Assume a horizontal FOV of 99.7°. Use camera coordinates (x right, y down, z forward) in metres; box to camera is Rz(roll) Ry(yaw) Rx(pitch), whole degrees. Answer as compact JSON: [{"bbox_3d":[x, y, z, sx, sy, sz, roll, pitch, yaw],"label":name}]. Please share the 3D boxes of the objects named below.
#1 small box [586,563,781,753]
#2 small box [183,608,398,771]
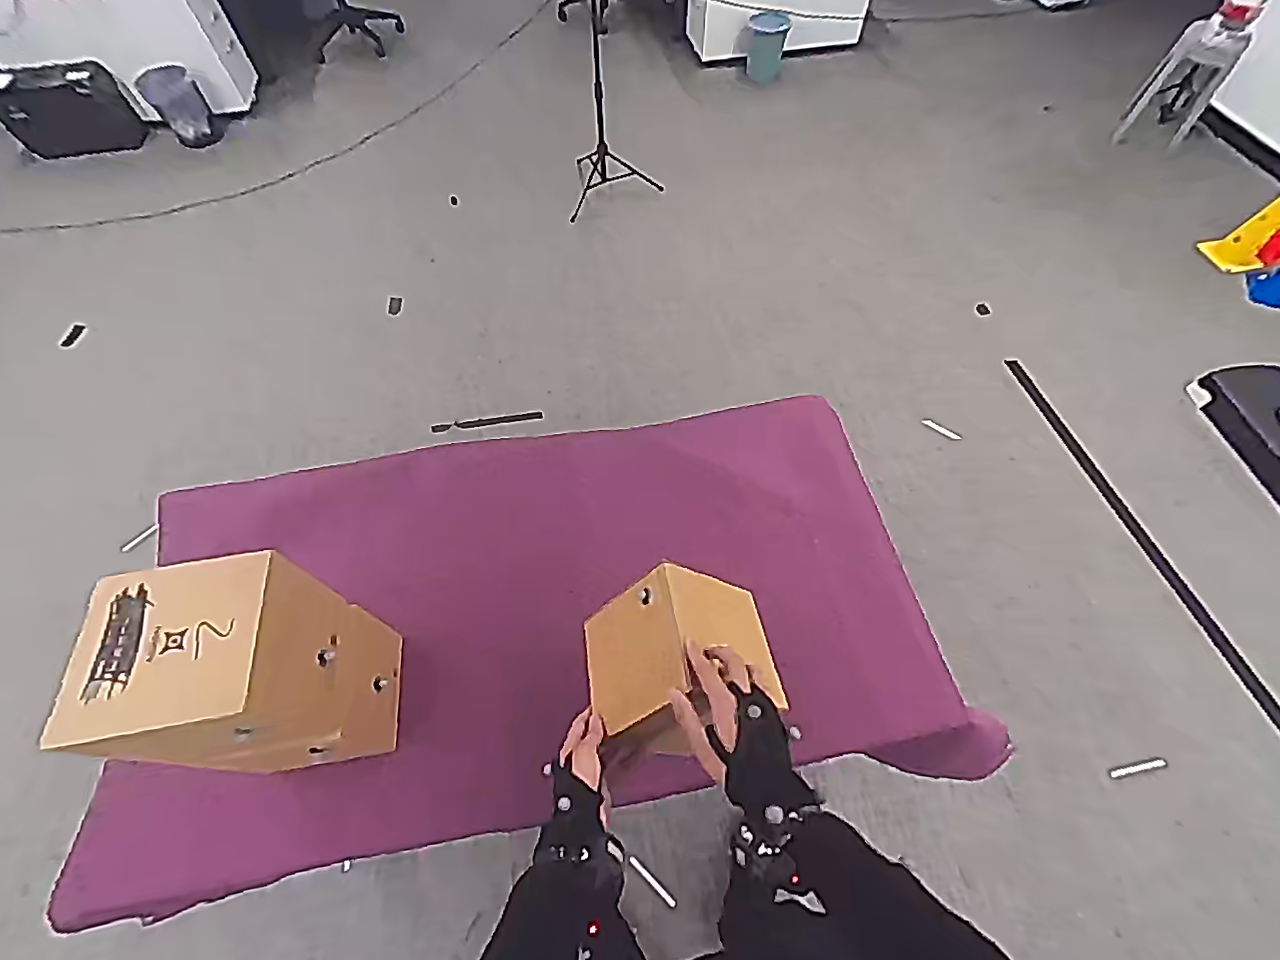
[{"bbox_3d":[0.047,0.238,0.693,0.168,0.179,0.176,23,38,-31],"label":"small box"},{"bbox_3d":[-0.446,0.286,0.727,0.179,0.176,0.168,-8,59,-4],"label":"small box"}]
